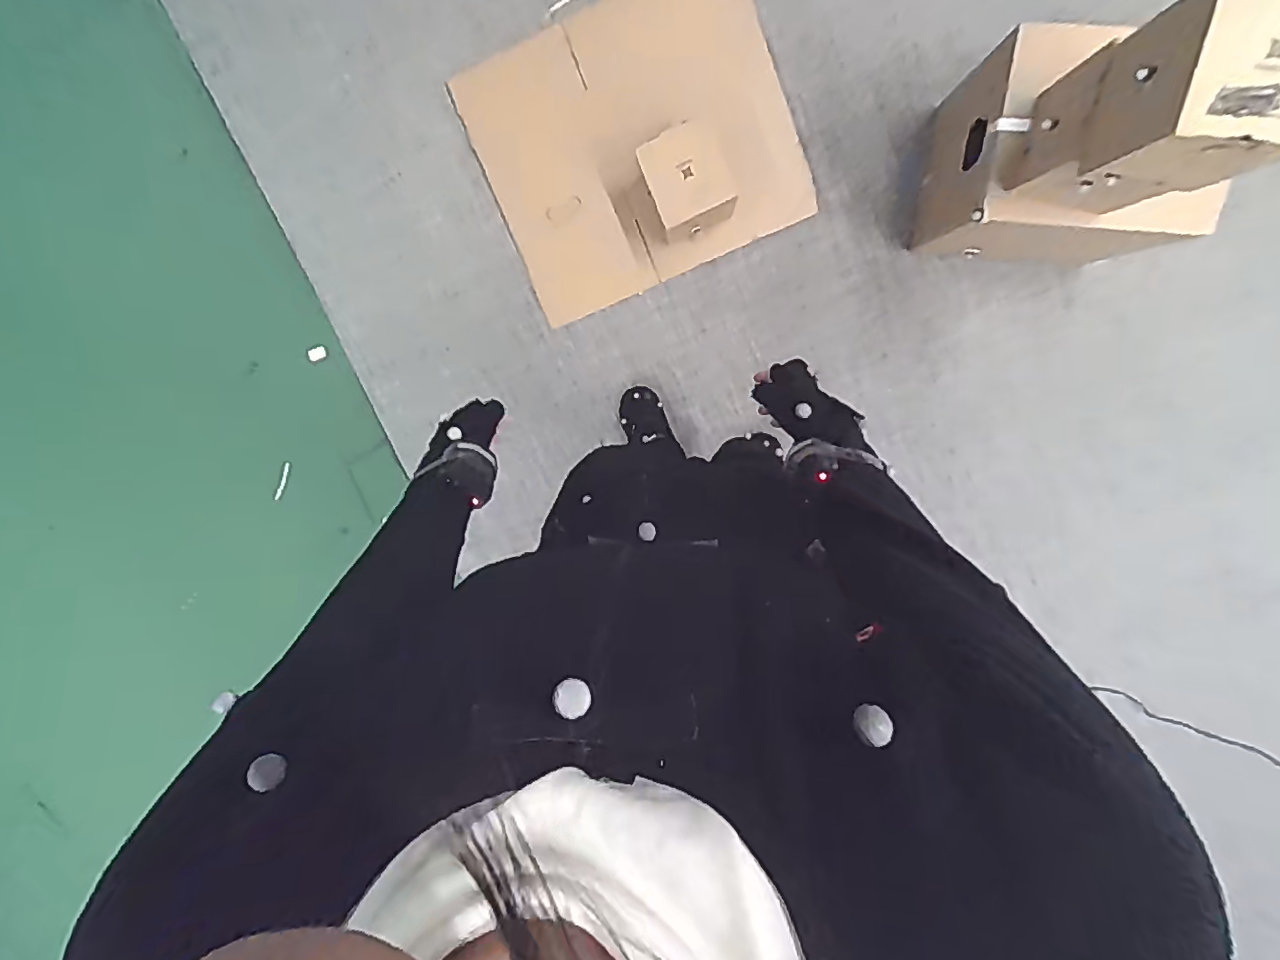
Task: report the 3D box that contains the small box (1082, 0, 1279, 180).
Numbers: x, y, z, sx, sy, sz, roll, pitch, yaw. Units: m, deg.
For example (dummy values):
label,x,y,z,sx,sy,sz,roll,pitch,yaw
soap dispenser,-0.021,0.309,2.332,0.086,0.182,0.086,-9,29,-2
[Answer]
label,x,y,z,sx,sy,sz,roll,pitch,yaw
small box,0.724,-0.505,0.698,0.168,0.176,0.179,6,104,4

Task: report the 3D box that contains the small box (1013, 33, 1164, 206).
label,x,y,z,sx,sy,sz,roll,pitch,yaw
small box,0.742,-0.555,0.857,0.179,0.176,0.168,11,102,2

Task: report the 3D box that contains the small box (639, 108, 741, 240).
label,x,y,z,sx,sy,sz,roll,pitch,yaw
small box,0.110,-0.658,1.187,0.168,0.176,0.179,-22,100,11
